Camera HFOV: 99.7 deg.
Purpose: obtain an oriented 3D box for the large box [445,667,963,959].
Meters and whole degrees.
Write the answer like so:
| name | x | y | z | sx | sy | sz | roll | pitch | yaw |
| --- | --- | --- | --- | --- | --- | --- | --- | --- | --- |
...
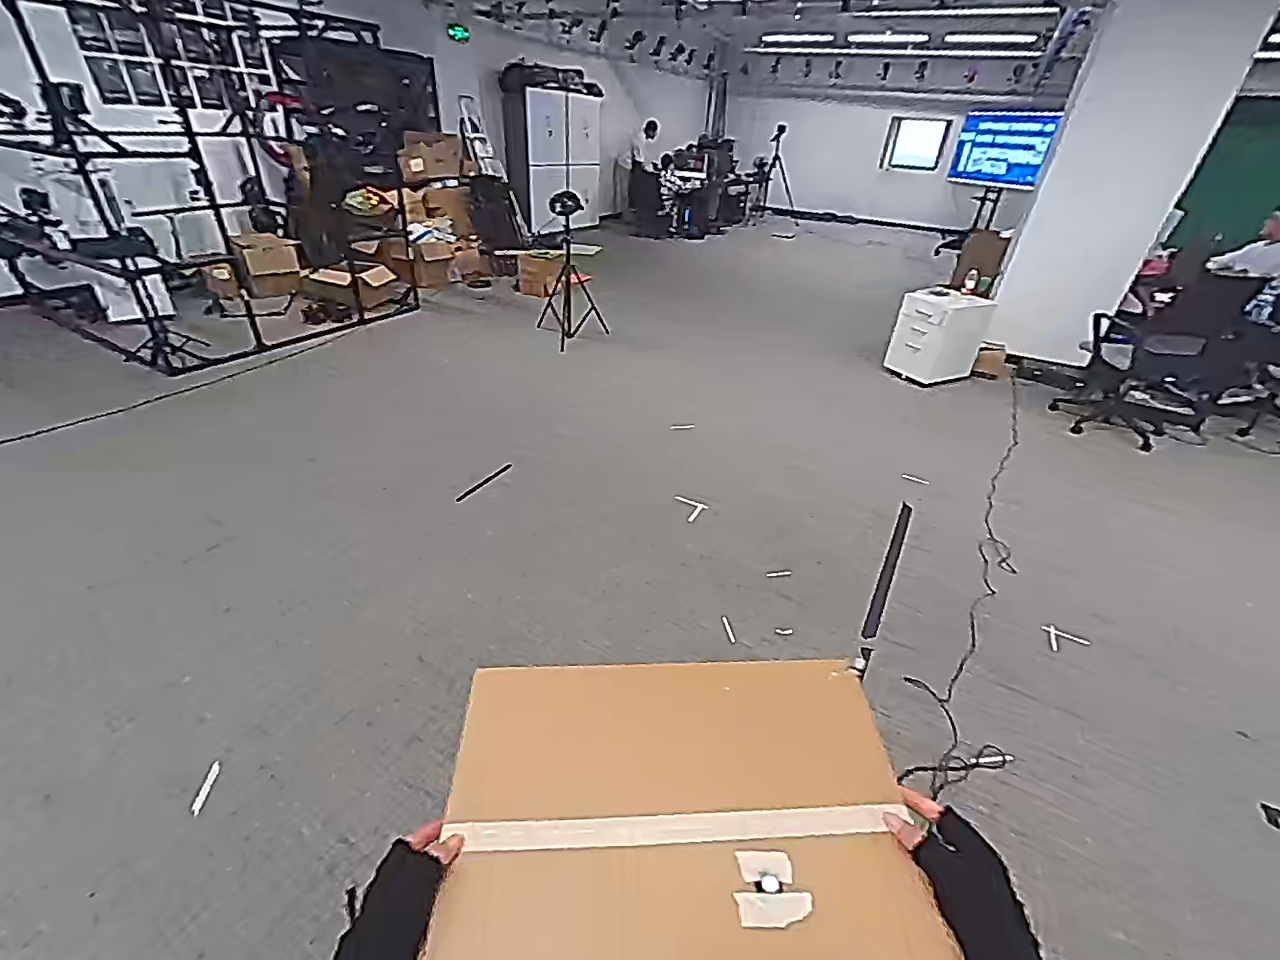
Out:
| name | x | y | z | sx | sy | sz | roll | pitch | yaw |
| --- | --- | --- | --- | --- | --- | --- | --- | --- | --- |
| large box | 0.041 | 0.420 | 0.571 | 0.408 | 0.320 | 0.320 | 1 | 41 | -2 |
